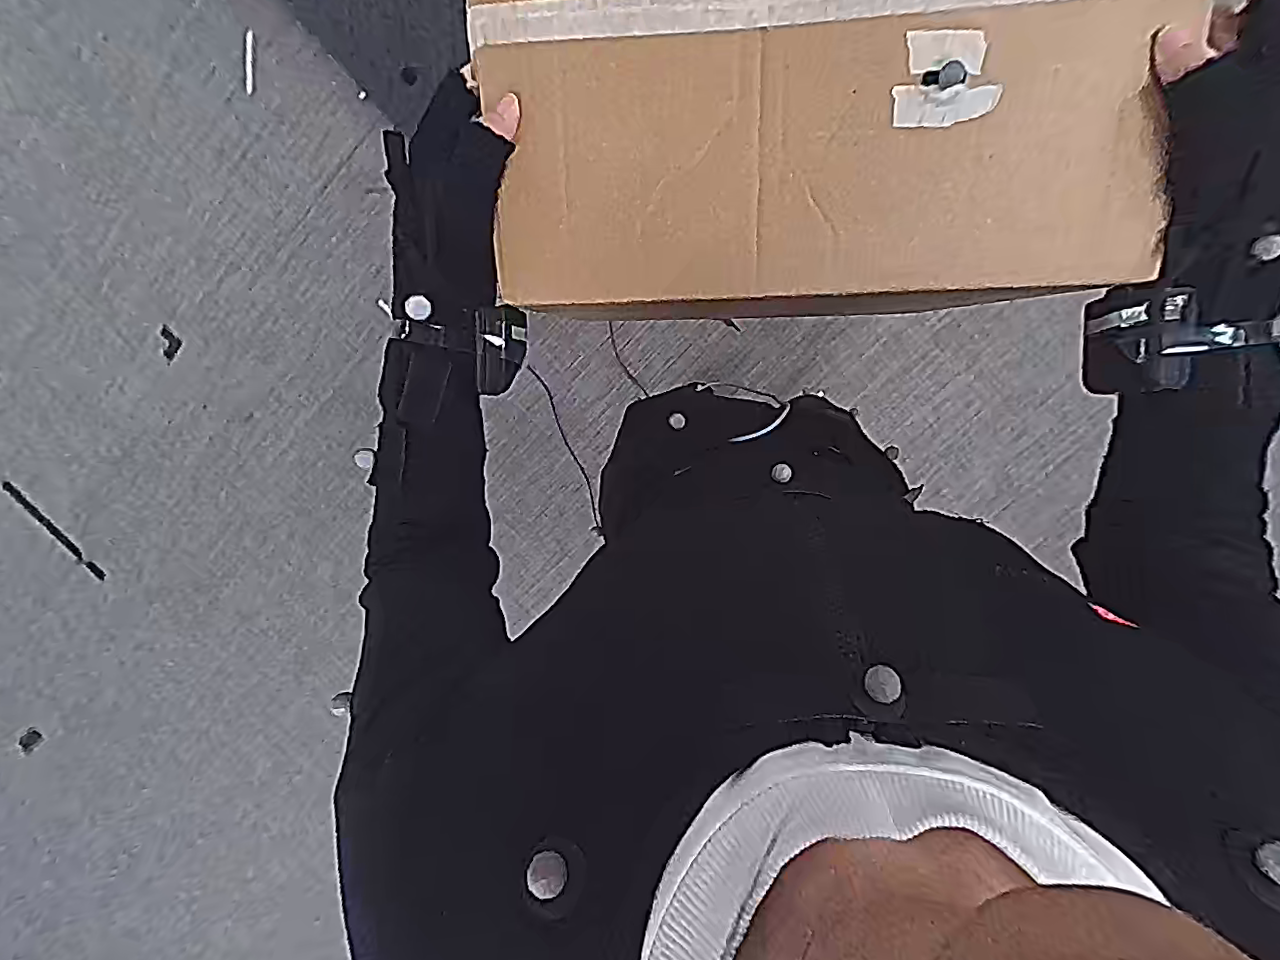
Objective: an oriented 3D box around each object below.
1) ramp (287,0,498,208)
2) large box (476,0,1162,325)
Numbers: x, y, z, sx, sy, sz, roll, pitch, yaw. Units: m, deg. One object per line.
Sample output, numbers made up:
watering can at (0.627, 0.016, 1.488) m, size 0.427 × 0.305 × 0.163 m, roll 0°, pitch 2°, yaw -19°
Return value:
ramp at (-0.565, -1.186, 1.203) m, size 0.509 × 0.206 × 0.991 m, roll -43°, pitch 95°, yaw 10°
large box at (0.106, -0.312, 0.464) m, size 0.408 × 0.320 × 0.320 m, roll -2°, pitch 105°, yaw 4°
